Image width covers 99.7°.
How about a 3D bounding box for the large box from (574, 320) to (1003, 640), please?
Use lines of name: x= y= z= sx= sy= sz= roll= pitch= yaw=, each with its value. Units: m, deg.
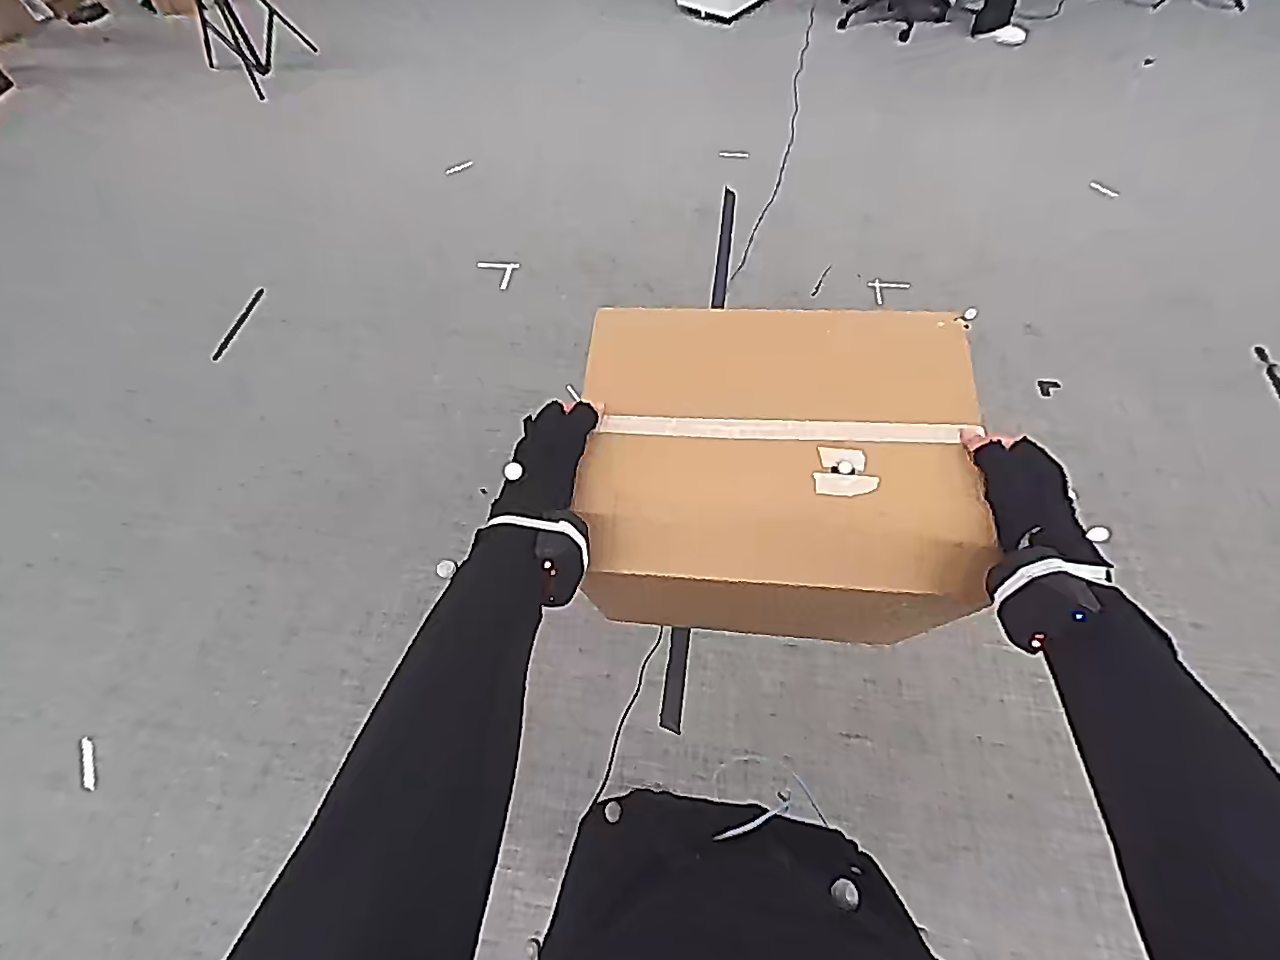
large box: x=0.155 y=0.016 z=0.699 sx=0.408 sy=0.320 sz=0.320 roll=3 pitch=67 yaw=7
